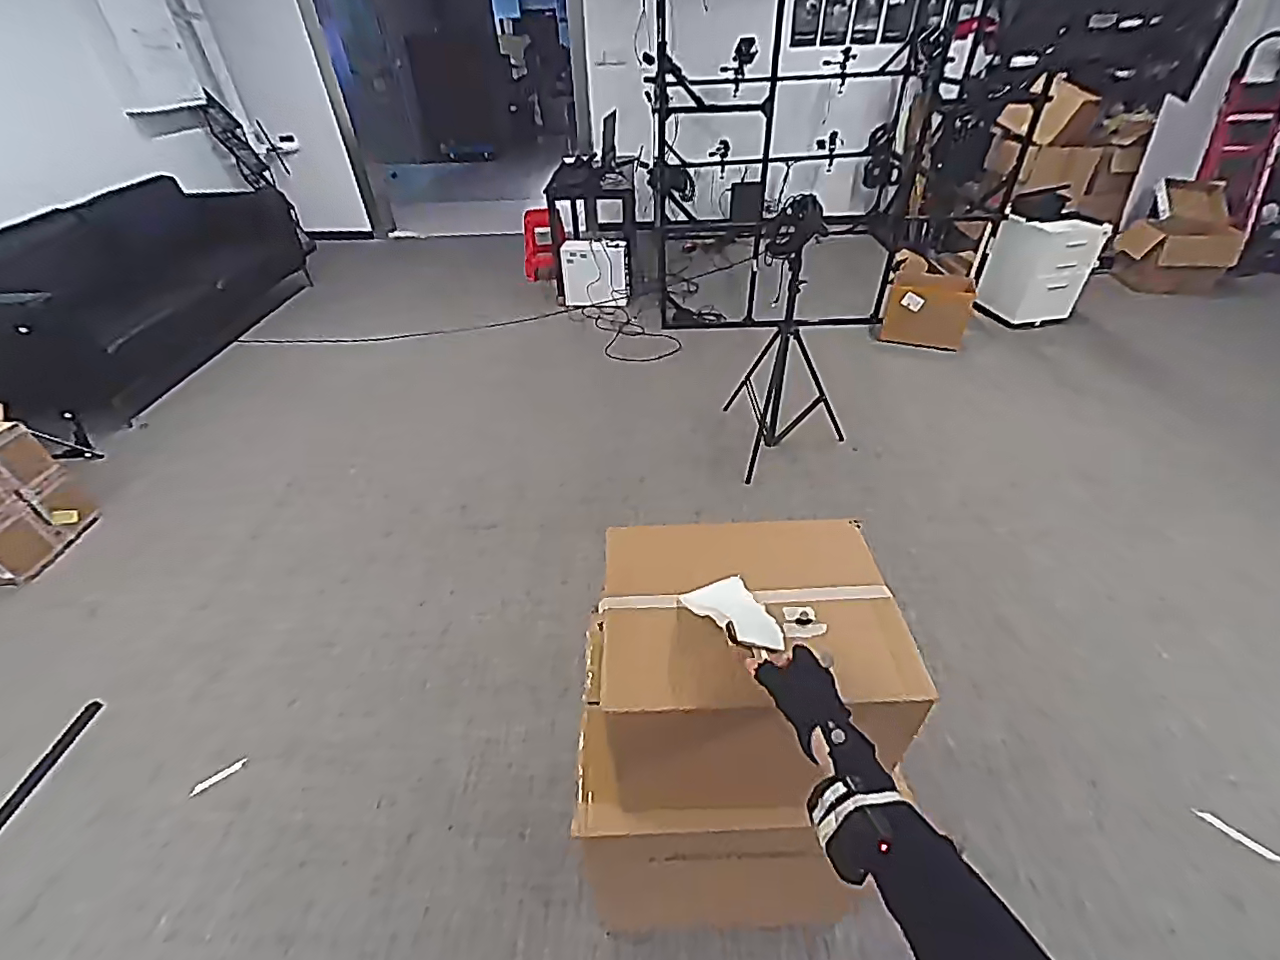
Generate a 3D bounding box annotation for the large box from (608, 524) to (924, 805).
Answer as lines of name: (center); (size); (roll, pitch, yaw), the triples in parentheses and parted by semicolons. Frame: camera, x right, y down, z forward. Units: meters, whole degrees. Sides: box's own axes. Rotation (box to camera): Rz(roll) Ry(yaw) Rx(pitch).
large box: (0.154, 0.293, 0.874); (0.408, 0.320, 0.320); (-2, 40, 0)
